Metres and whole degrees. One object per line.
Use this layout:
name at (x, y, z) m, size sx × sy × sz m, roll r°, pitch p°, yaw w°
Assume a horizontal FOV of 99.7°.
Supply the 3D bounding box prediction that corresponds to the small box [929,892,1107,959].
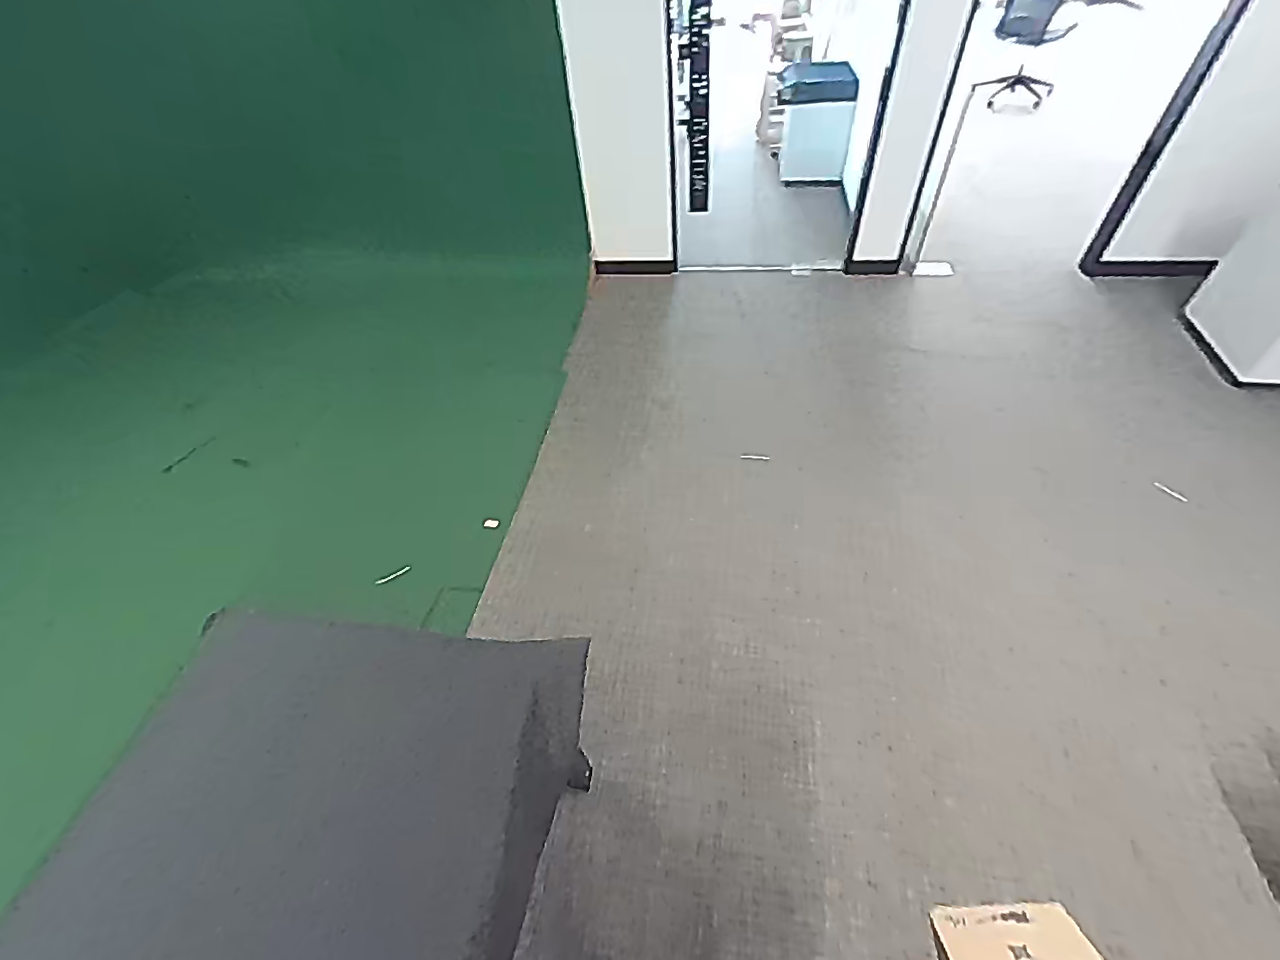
small box at (0.473, 0.641, 0.643) m, size 0.168 × 0.179 × 0.176 m, roll -11°, pitch 89°, yaw 11°
